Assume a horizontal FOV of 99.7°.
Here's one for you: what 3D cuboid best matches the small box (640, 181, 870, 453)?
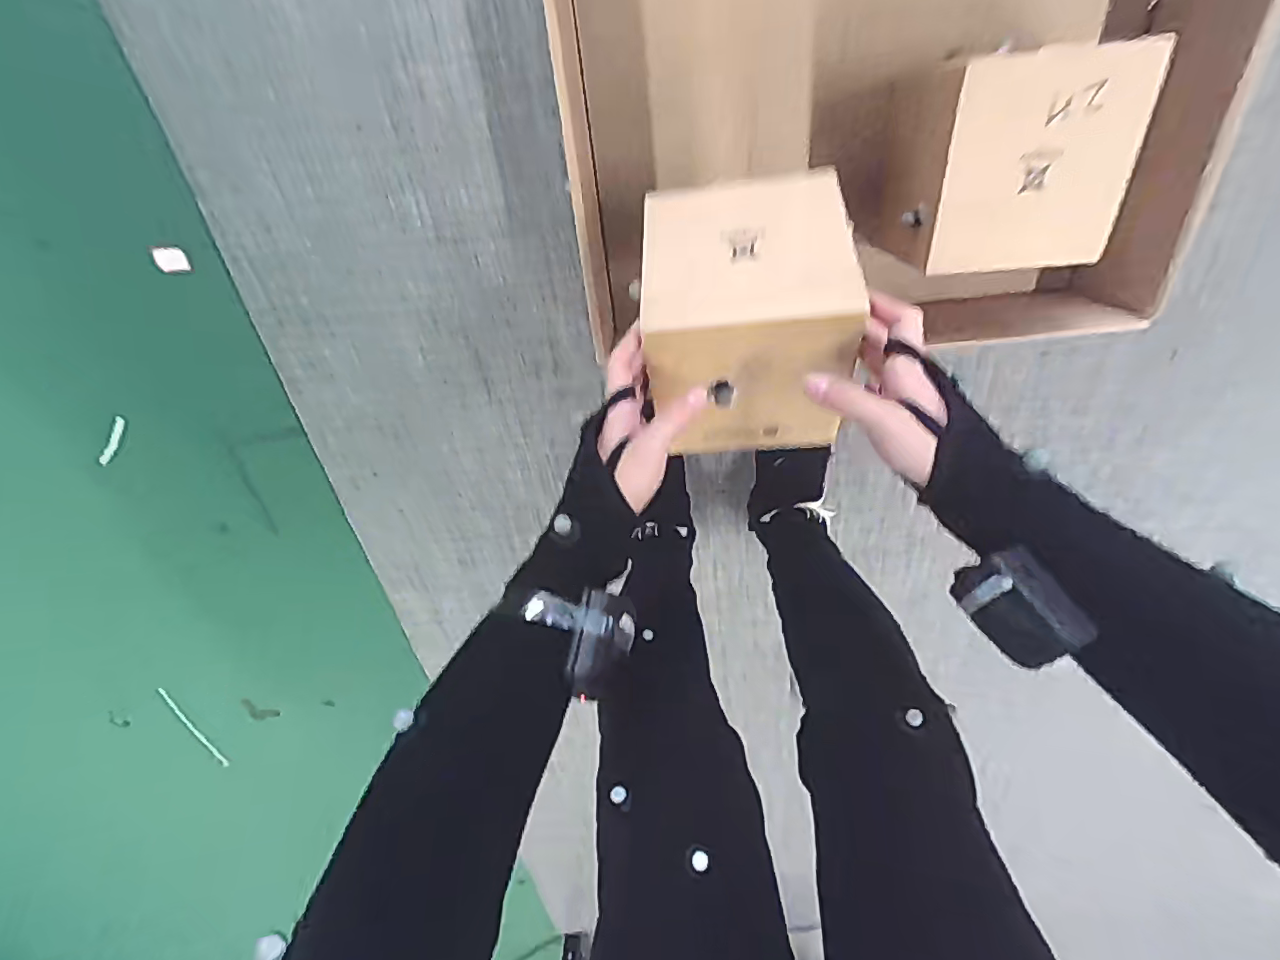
[{"bbox_3d":[0.096,-0.136,0.495,0.168,0.179,0.176,-3,145,8],"label":"small box"}]
